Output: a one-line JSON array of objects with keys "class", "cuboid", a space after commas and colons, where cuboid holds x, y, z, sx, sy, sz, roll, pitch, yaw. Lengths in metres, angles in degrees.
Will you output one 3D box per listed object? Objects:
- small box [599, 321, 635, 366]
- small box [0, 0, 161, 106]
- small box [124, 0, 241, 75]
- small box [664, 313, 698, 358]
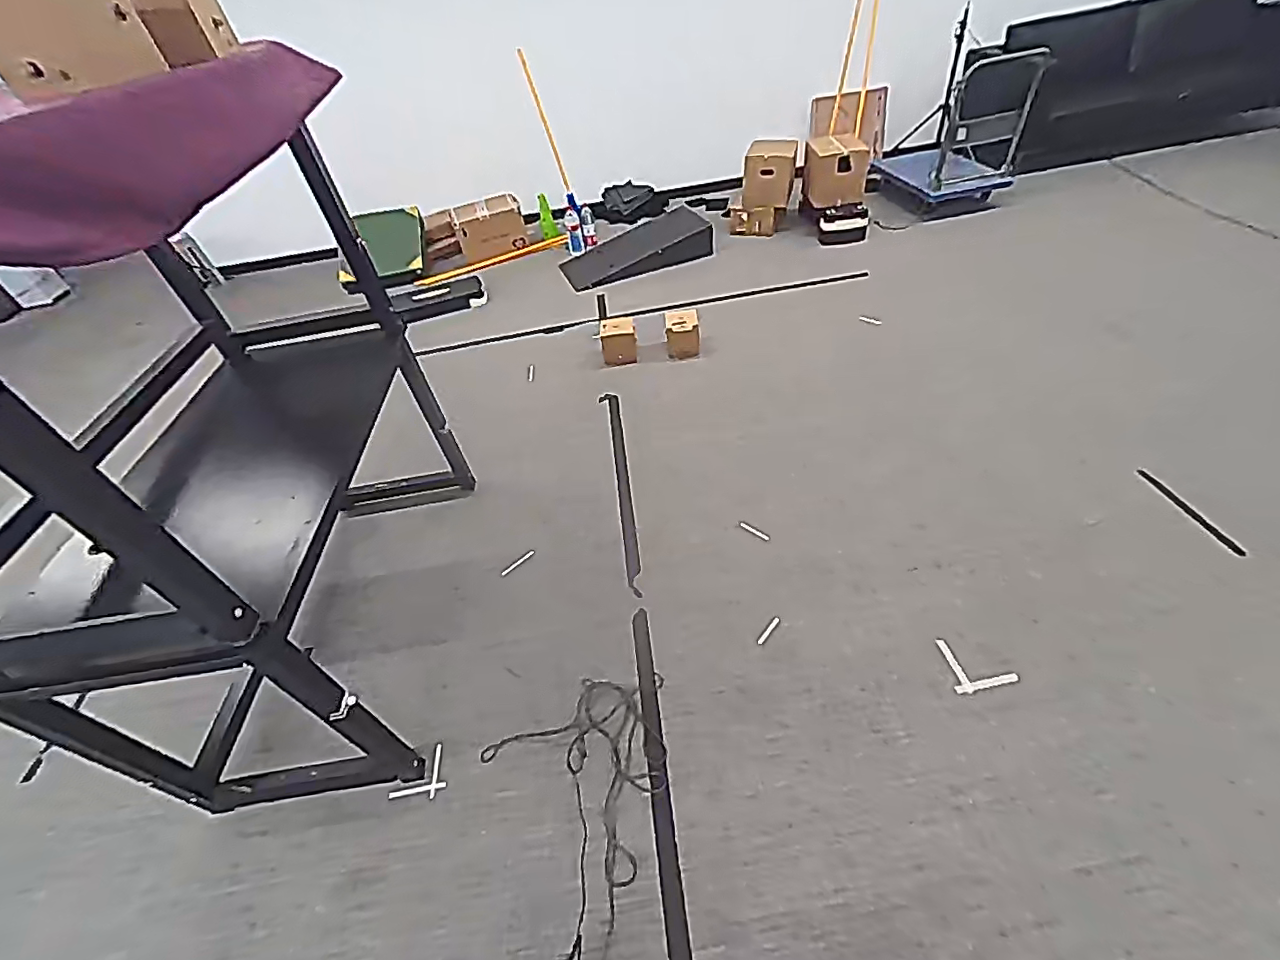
[{"class": "small box", "cuboid": [-0.116, -0.714, 2.835, 0.179, 0.176, 0.168, -5, 44, 3]}, {"class": "small box", "cuboid": [-0.959, -0.738, 0.894, 0.168, 0.176, 0.179, -8, 44, 4]}, {"class": "small box", "cuboid": [-0.982, -0.950, 1.112, 0.179, 0.176, 0.168, -14, 45, -3]}, {"class": "small box", "cuboid": [0.214, -0.748, 2.816, 0.168, 0.176, 0.179, -5, 43, 4]}]
